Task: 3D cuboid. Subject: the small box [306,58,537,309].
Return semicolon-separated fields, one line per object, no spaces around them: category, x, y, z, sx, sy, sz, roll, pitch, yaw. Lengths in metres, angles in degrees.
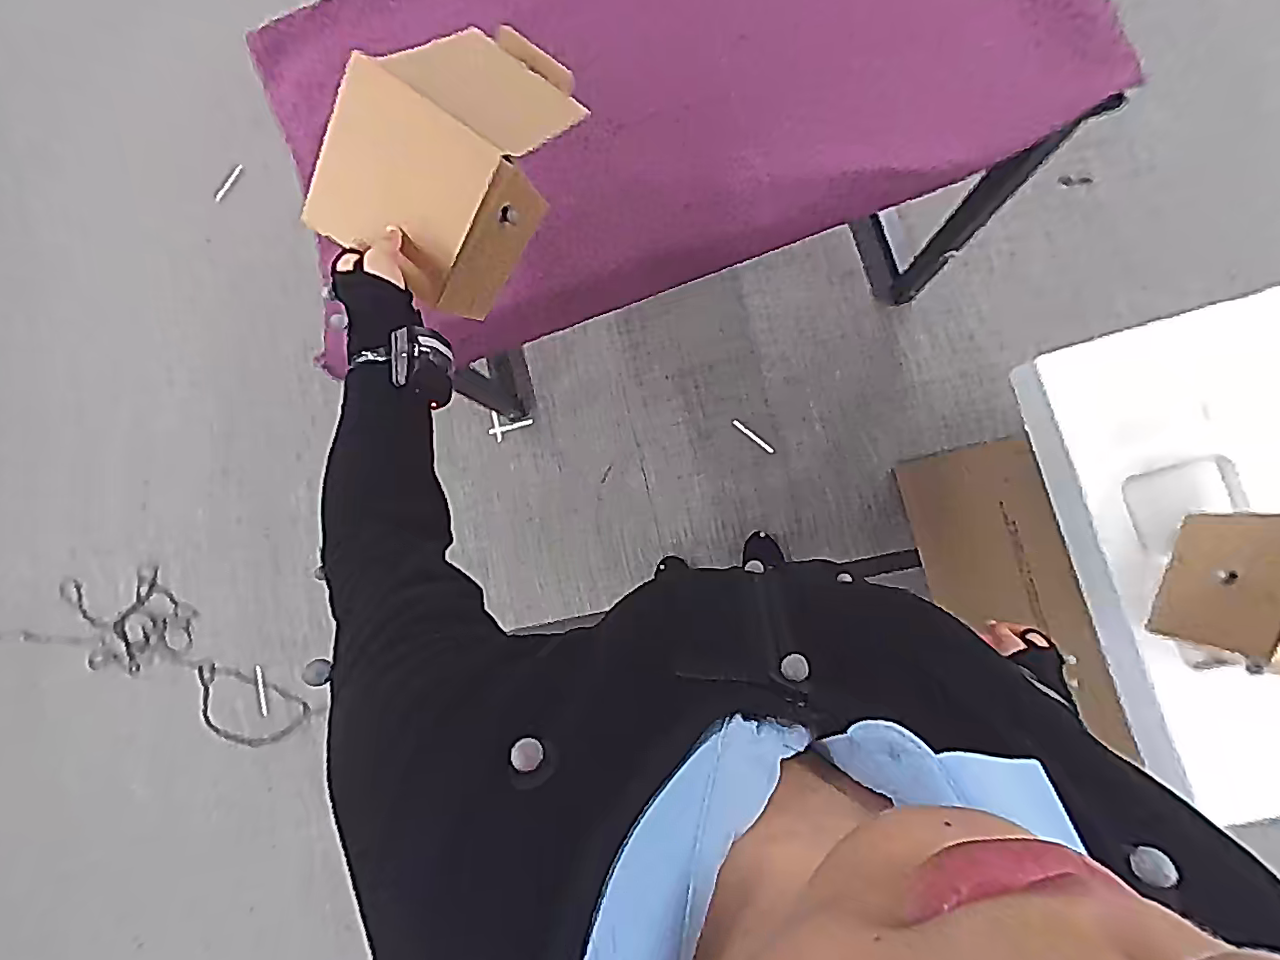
small box;-0.238;-0.325;0.638;0.168;0.176;0.179;32;102;-4
